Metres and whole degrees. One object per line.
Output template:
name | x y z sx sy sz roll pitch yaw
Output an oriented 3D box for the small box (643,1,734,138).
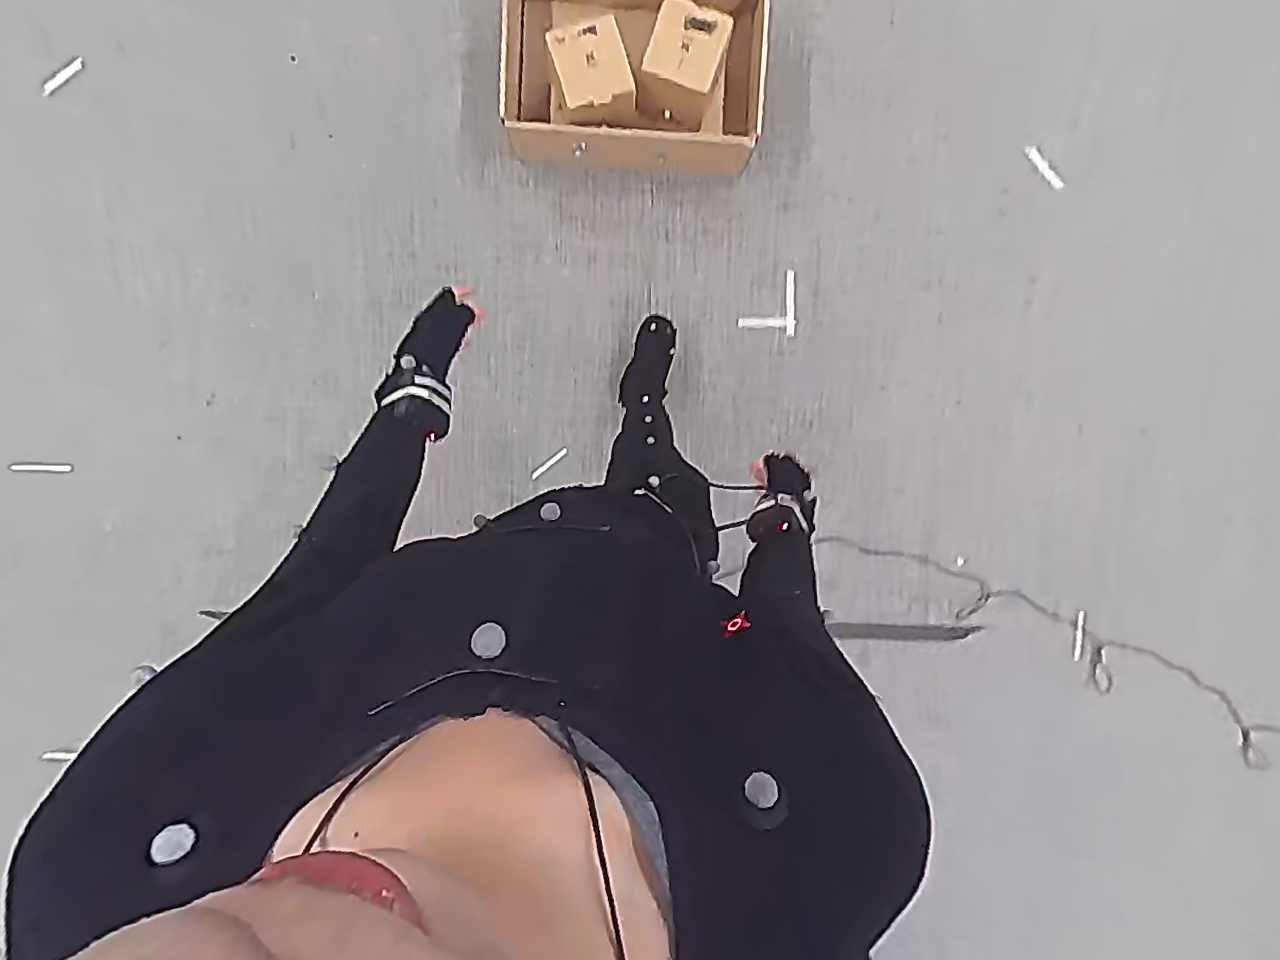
small box | 0.108 -0.985 1.313 0.168 0.176 0.179 20 93 -2
